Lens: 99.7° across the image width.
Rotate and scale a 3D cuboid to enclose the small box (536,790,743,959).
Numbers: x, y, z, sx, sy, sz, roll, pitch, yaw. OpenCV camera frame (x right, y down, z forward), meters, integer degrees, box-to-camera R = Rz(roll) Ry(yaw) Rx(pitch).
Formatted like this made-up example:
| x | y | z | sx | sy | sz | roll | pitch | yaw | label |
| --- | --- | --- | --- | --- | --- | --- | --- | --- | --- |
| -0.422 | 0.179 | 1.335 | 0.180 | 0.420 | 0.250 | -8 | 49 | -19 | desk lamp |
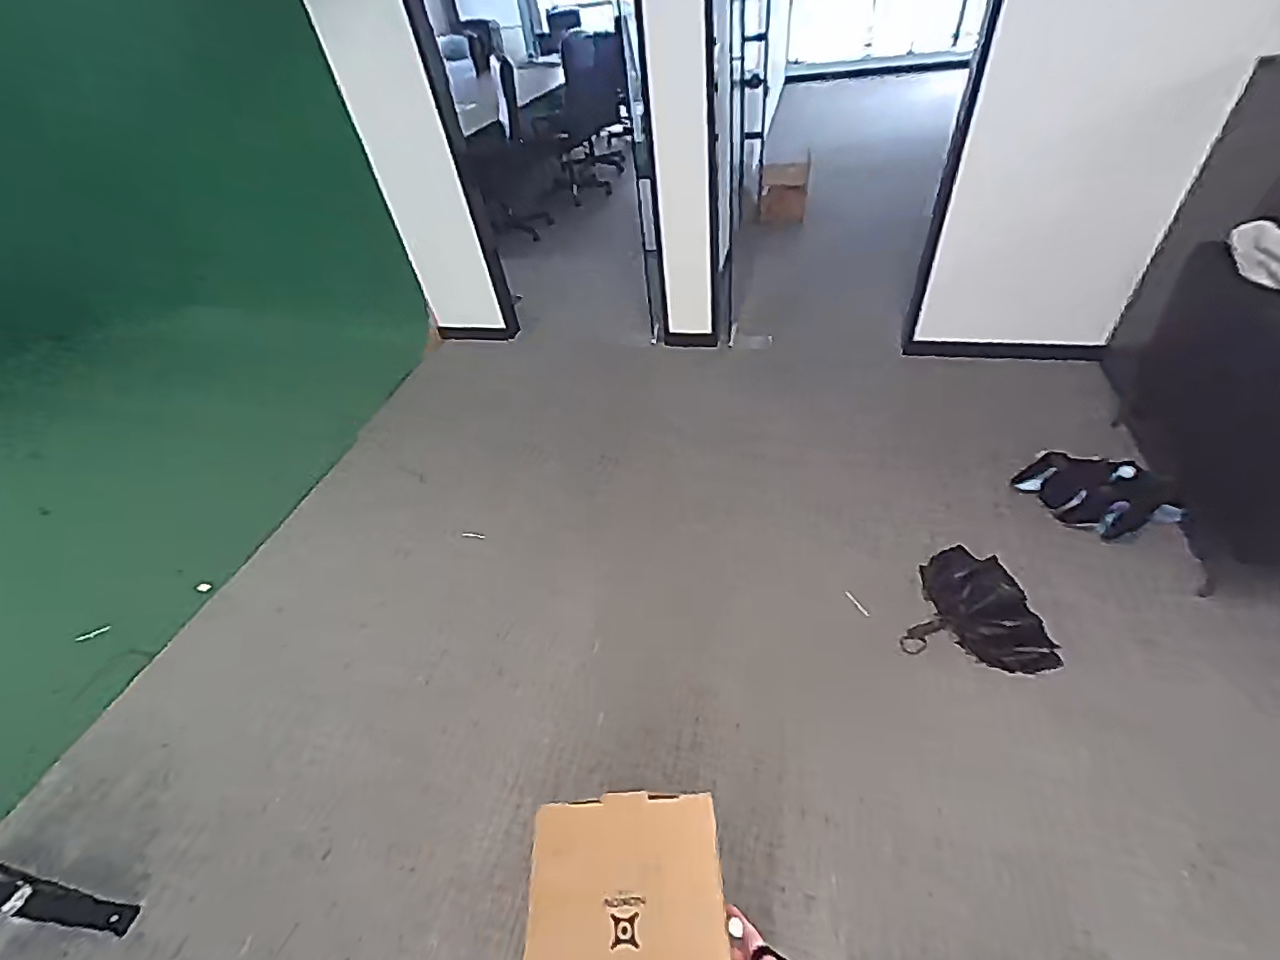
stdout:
| x | y | z | sx | sy | sz | roll | pitch | yaw | label |
| --- | --- | --- | --- | --- | --- | --- | --- | --- | --- |
| 0.004 | 0.411 | 0.499 | 0.168 | 0.176 | 0.179 | -6 | 45 | 2 | small box |
